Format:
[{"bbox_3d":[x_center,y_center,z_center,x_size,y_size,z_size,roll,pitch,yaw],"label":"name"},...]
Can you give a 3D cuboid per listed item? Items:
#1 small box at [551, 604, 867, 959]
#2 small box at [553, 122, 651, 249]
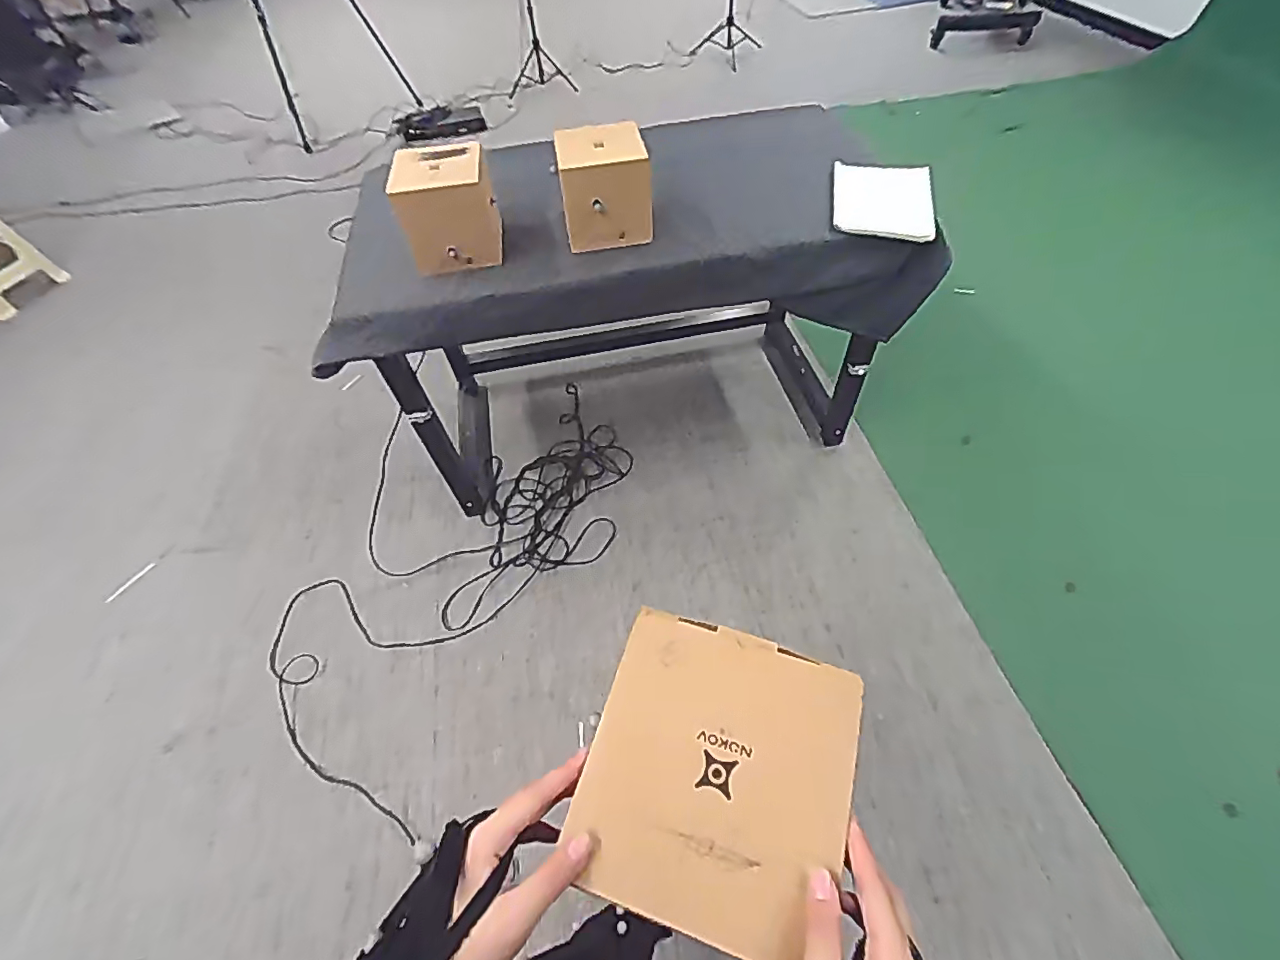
[{"bbox_3d":[0.052,0.224,0.406,0.168,0.176,0.179,15,59,12],"label":"small box"},{"bbox_3d":[-0.073,-0.579,1.080,0.168,0.176,0.179,-10,53,-3],"label":"small box"}]
